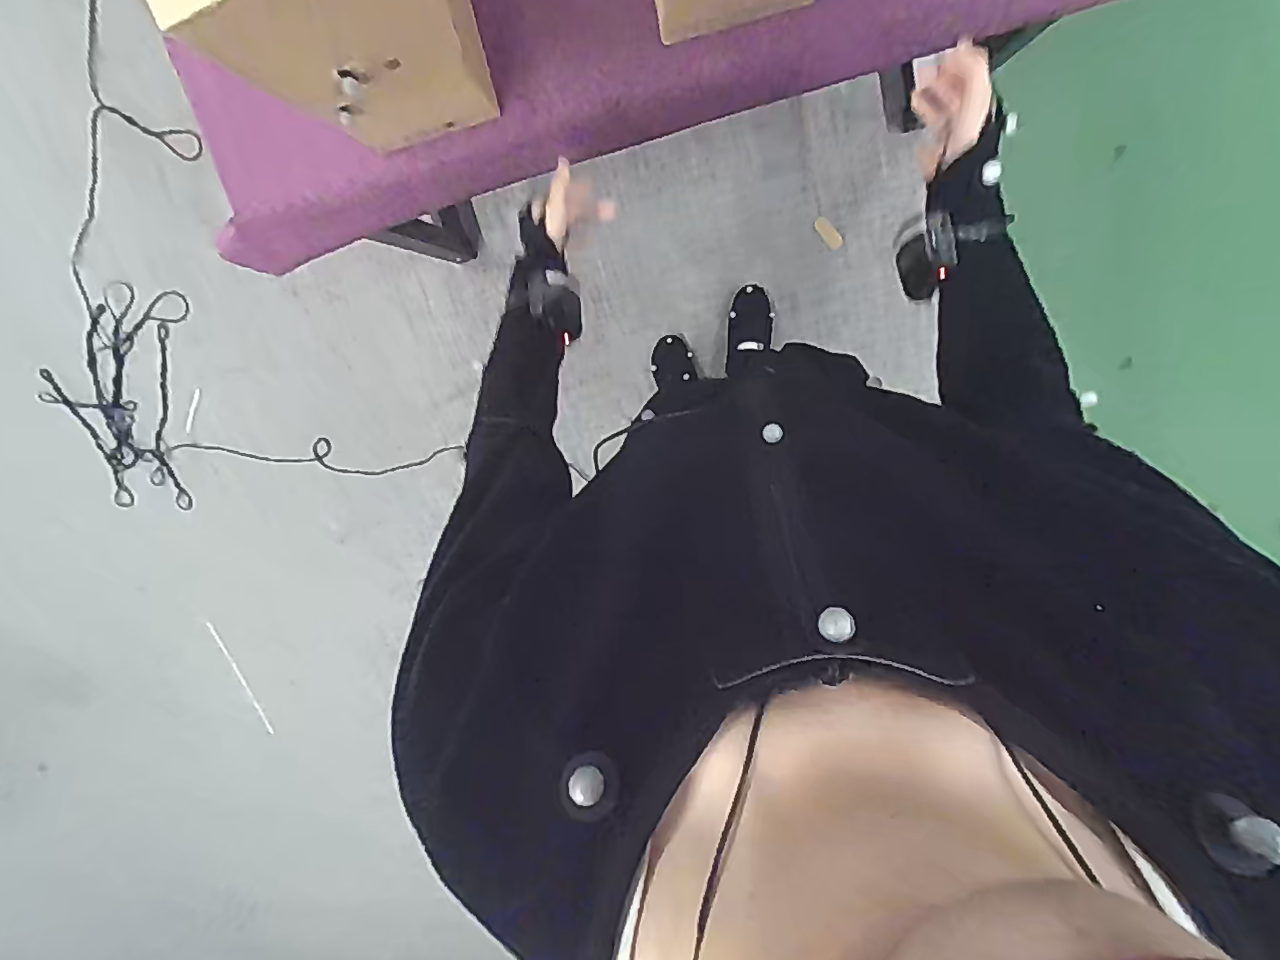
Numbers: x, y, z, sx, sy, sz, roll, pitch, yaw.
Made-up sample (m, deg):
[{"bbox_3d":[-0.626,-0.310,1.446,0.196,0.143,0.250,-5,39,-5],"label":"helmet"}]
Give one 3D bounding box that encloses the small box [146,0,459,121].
[{"bbox_3d":[-0.272,-0.428,0.419,0.168,0.176,0.179,-17,103,9],"label":"small box"}]
